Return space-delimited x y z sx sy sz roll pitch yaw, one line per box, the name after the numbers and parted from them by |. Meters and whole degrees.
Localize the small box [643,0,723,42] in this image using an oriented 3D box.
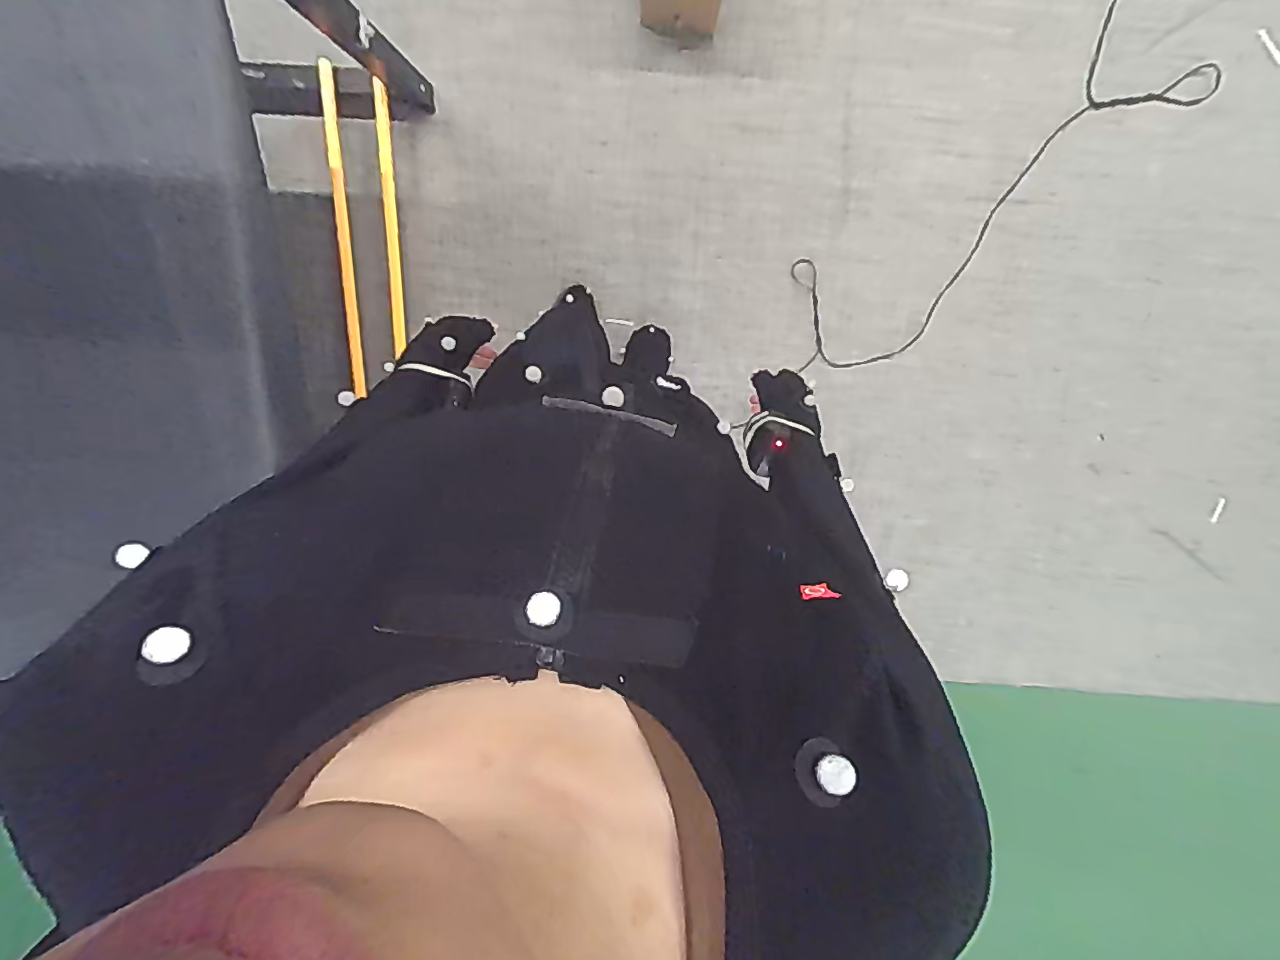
0.097 -1.044 1.098 0.168 0.176 0.179 9 108 -1 | small box
